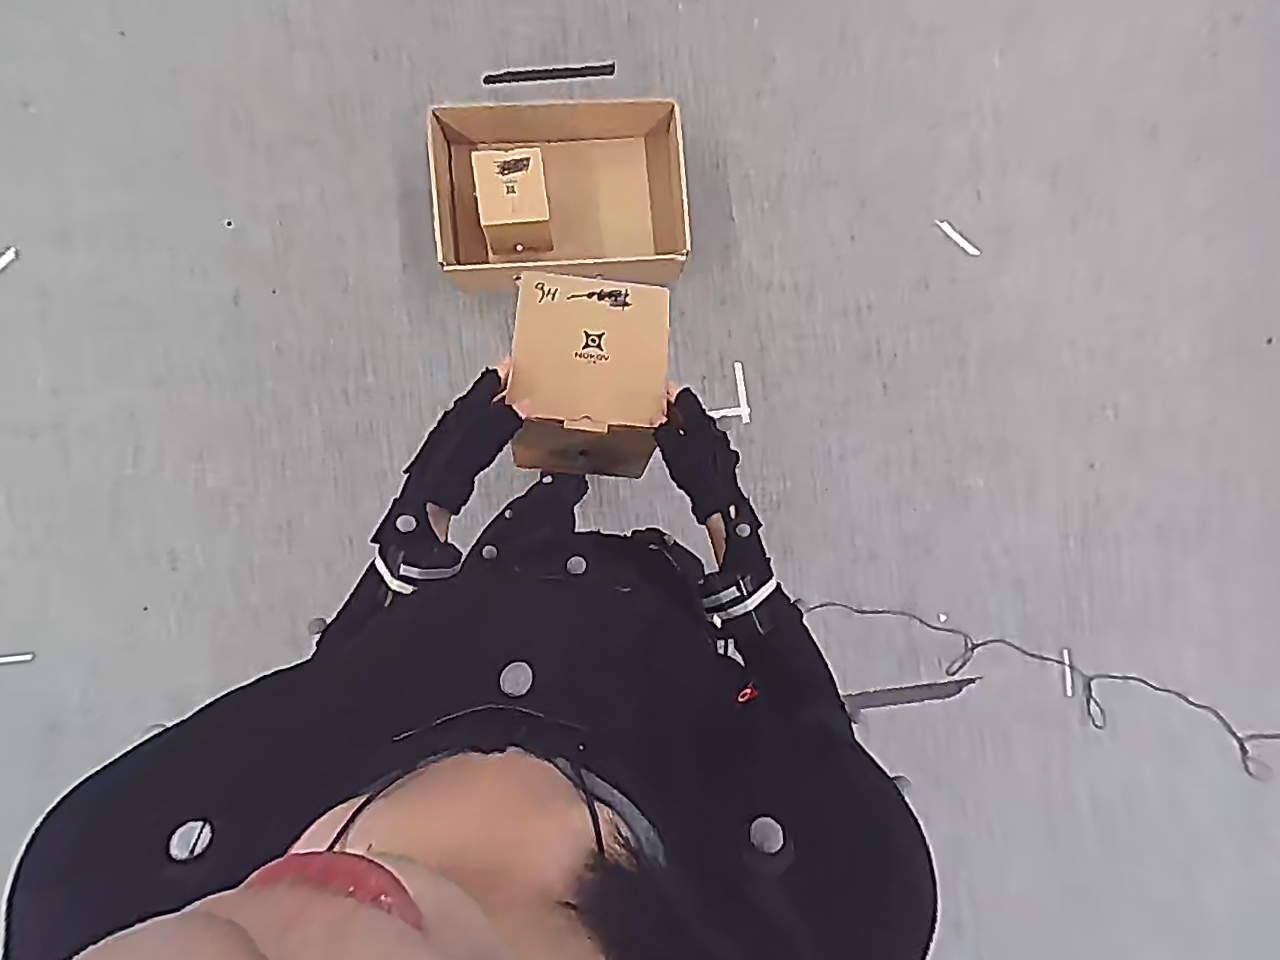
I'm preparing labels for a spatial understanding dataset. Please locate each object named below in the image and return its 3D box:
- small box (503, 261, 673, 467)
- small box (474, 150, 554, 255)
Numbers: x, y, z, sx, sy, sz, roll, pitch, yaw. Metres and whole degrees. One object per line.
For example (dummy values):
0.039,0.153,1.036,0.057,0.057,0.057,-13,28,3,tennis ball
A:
-0.059,-0.123,0.637,0.168,0.176,0.179,5,73,-7,small box
-0.310,-0.692,1.358,0.168,0.176,0.179,-7,91,-5,small box
